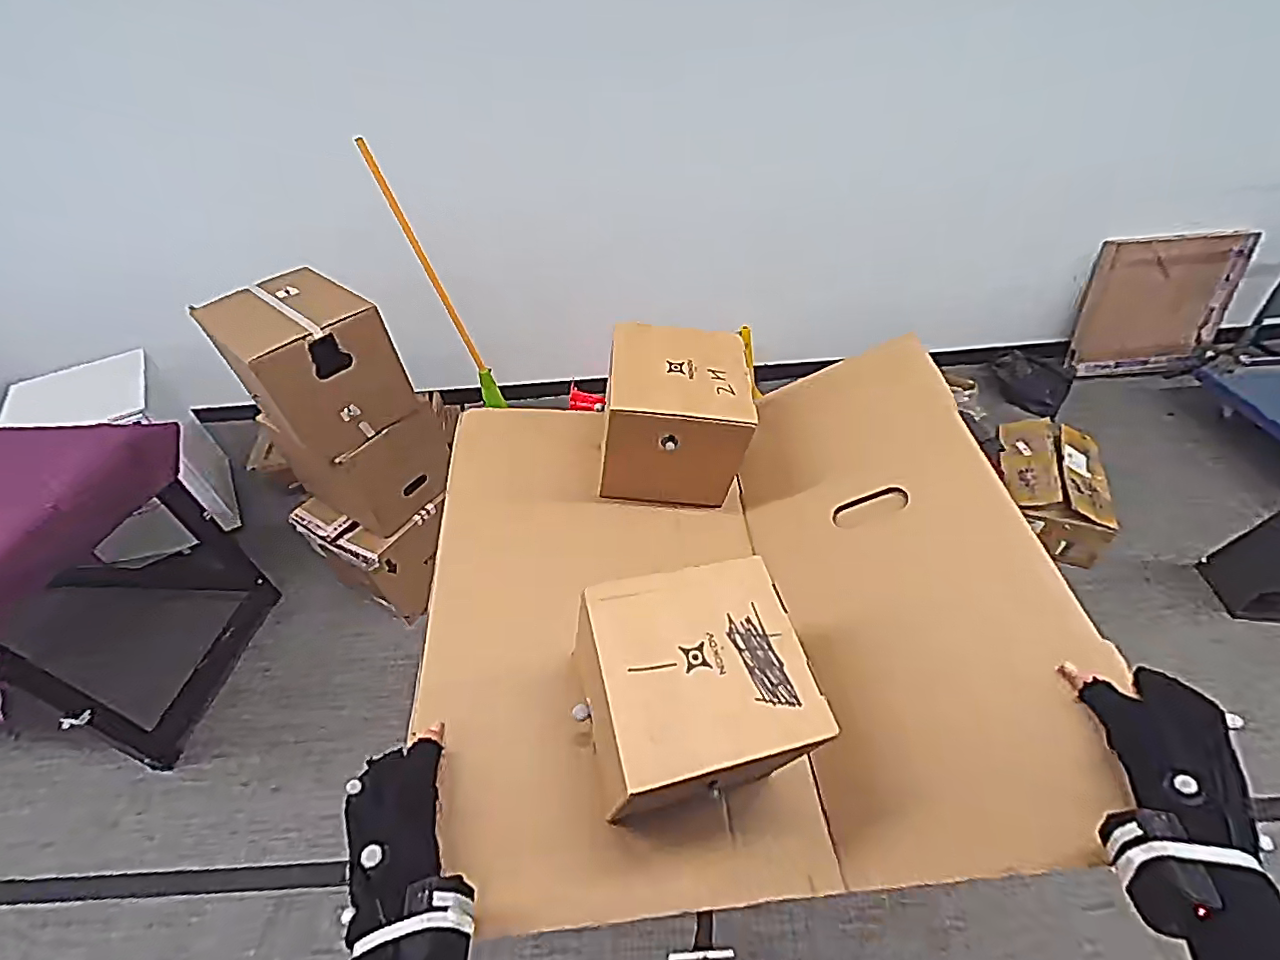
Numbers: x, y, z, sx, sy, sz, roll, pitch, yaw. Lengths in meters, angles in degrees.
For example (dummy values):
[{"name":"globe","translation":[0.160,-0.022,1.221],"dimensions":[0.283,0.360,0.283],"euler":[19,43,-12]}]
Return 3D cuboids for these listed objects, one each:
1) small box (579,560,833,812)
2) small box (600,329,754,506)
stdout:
[{"name":"small box","translation":[0.044,0.199,0.520],"dimensions":[0.179,0.176,0.168],"euler":[-8,54,-15]},{"name":"small box","translation":[0.040,-0.079,0.736],"dimensions":[0.179,0.176,0.168],"euler":[6,52,-6]}]
